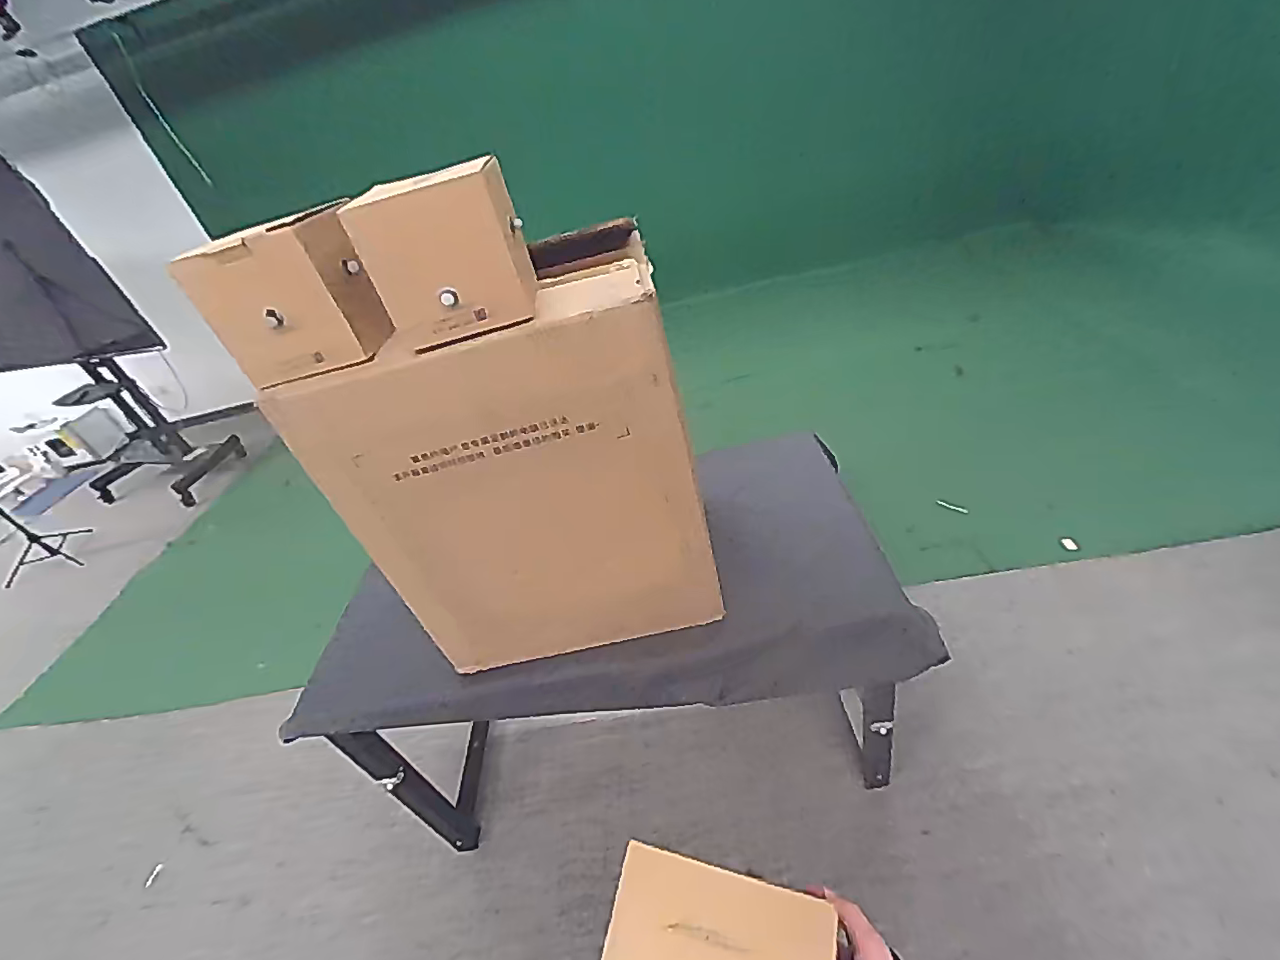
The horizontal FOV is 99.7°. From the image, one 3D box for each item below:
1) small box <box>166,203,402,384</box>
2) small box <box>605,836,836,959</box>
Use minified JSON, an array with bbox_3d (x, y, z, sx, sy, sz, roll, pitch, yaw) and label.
[{"bbox_3d":[-0.450,-0.243,0.723,0.168,0.176,0.179,-13,36,6],"label":"small box"},{"bbox_3d":[0.066,0.421,0.440,0.168,0.176,0.179,4,53,18],"label":"small box"}]
